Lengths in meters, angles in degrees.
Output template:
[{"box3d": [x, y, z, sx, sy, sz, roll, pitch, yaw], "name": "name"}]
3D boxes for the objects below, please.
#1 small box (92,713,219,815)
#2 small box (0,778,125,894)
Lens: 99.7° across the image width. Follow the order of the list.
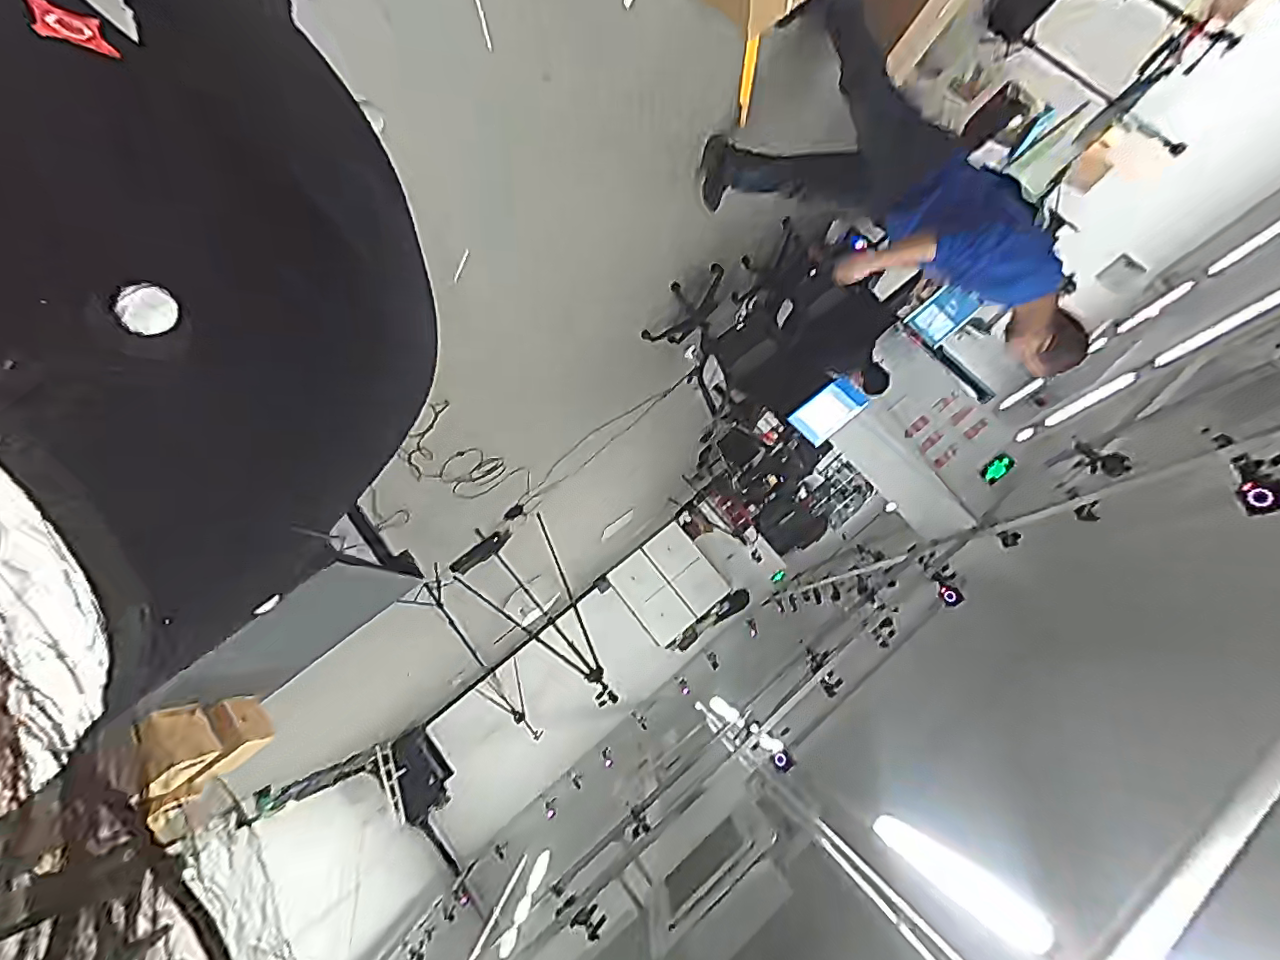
[{"box3d": [-1.340, 0.769, 1.497, 0.179, 0.176, 0.168, -39, 168, -9], "name": "small box"}, {"box3d": [-1.540, 0.922, 1.424, 0.168, 0.176, 0.179, -38, 168, -15], "name": "small box"}]
